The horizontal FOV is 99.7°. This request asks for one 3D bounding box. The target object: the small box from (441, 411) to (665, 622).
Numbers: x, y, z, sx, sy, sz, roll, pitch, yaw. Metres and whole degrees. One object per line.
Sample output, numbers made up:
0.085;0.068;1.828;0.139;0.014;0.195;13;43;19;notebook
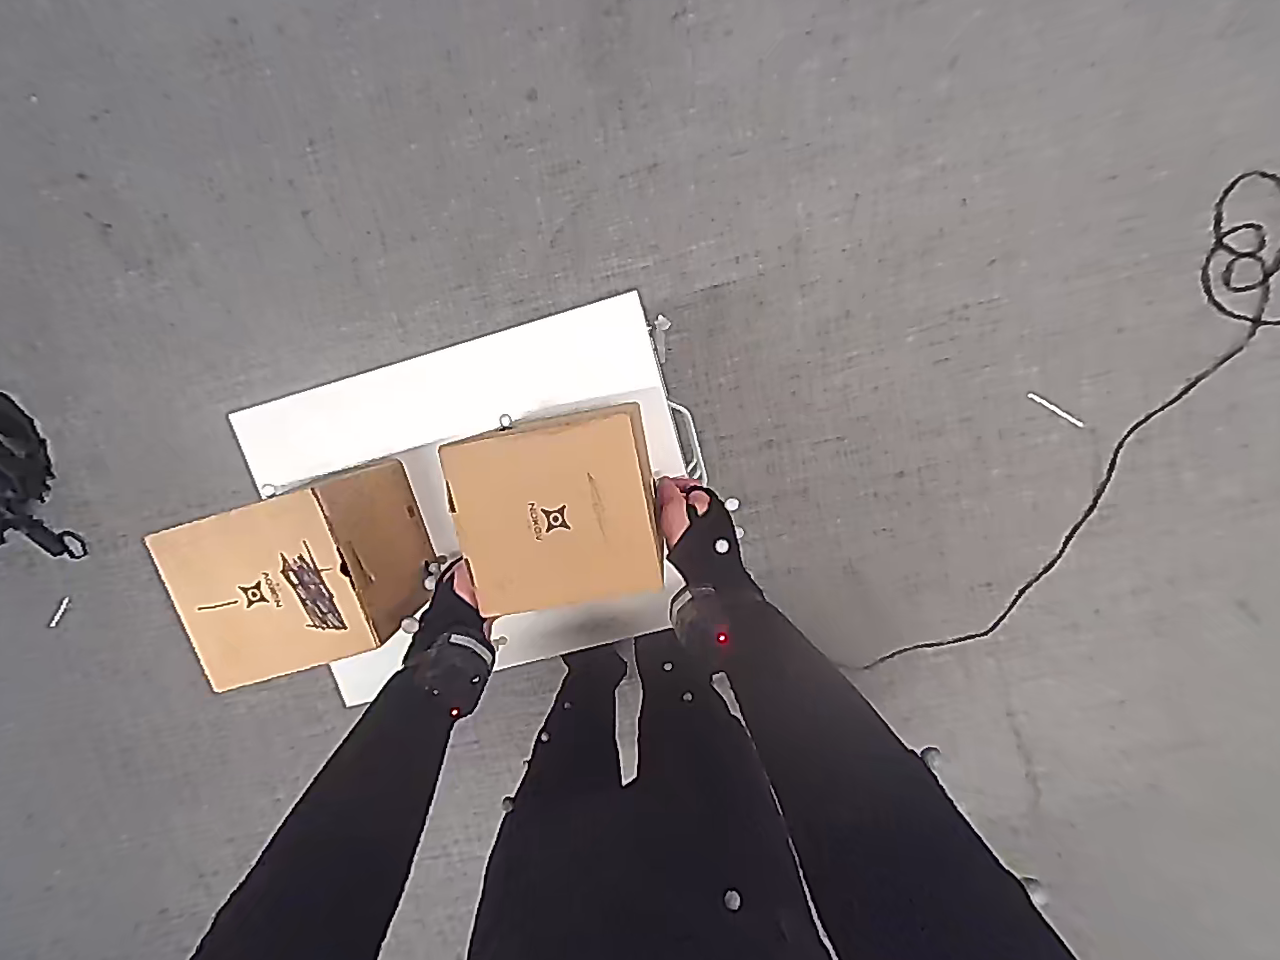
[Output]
-0.073;0.027;0.559;0.179;0.176;0.168;-10;100;5;small box
